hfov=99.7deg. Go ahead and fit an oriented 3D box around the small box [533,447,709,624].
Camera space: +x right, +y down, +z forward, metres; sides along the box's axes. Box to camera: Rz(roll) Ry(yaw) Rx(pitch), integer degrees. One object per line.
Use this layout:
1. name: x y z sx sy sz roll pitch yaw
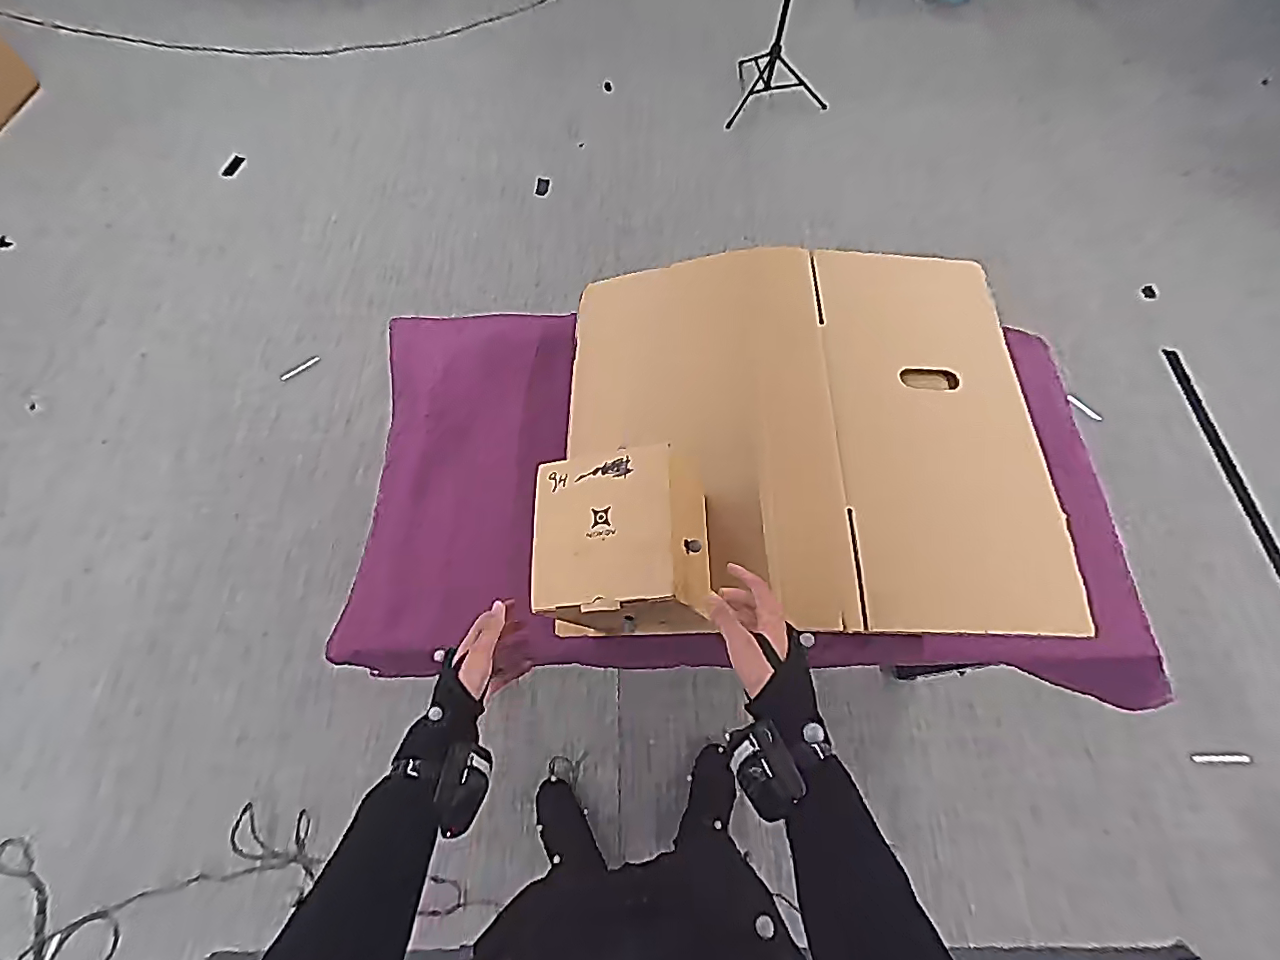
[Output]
1. small box: -0.014 0.081 0.666 0.168 0.176 0.179 -8 67 18
